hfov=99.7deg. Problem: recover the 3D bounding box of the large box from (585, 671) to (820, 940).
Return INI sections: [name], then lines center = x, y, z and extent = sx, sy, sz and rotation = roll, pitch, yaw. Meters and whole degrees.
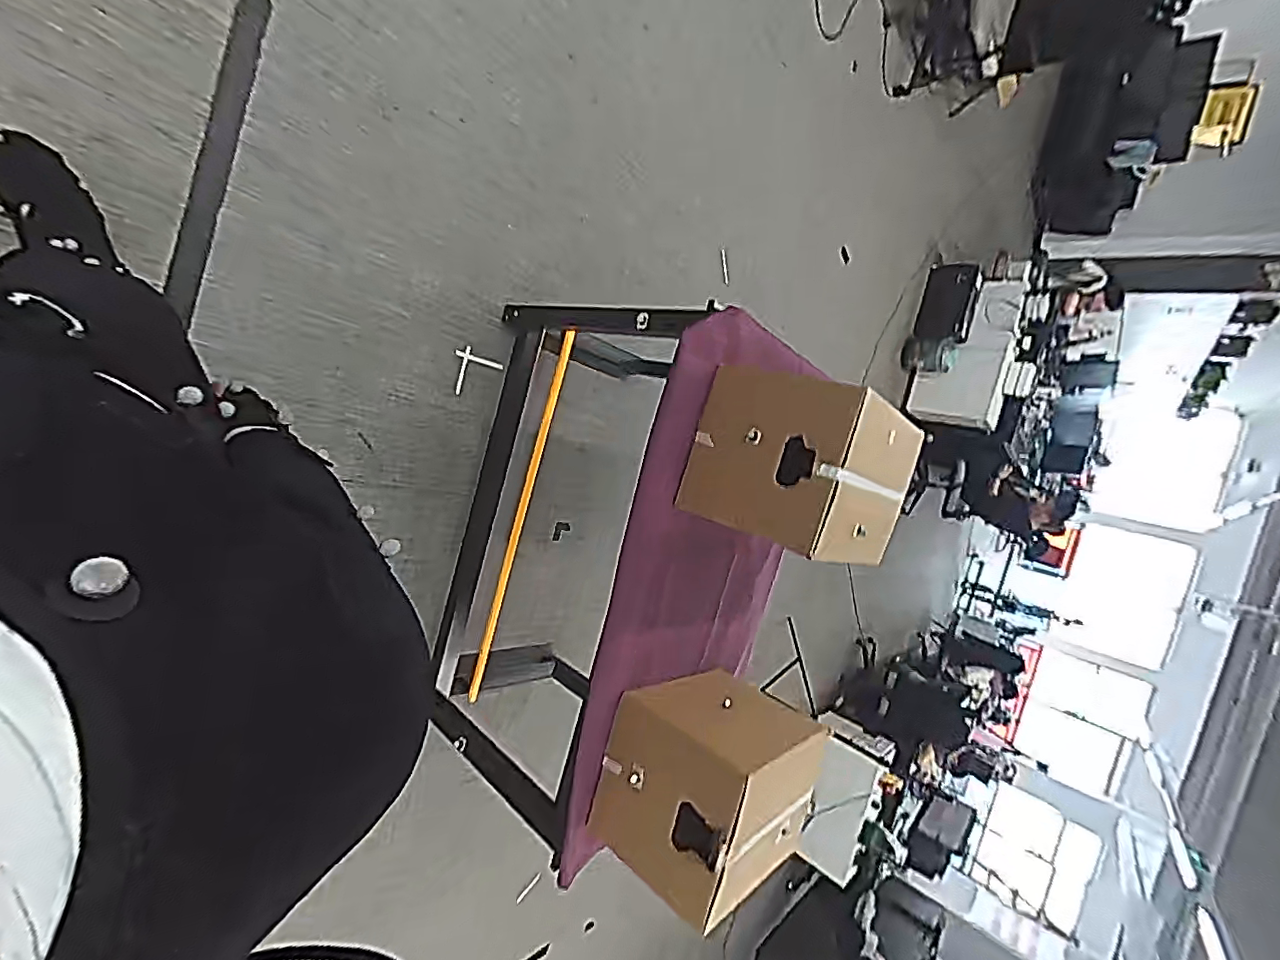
[large box]
center = 0.145, 0.657, 1.191
extent = 0.408, 0.320, 0.320
rotation = 12, 95, -52
